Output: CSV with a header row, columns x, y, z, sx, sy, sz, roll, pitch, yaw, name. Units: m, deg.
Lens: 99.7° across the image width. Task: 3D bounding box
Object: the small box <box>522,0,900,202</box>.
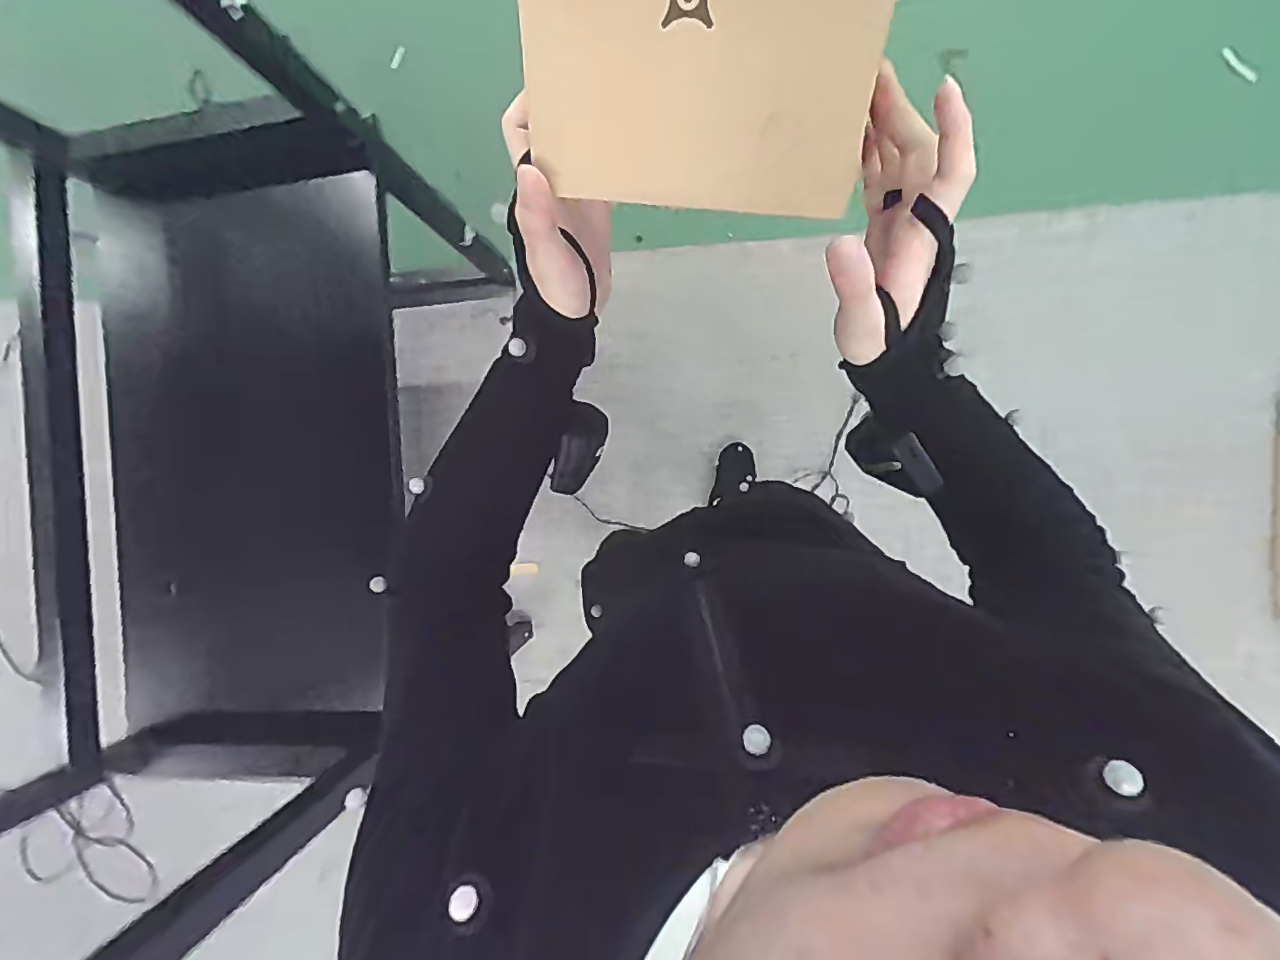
x,y,z,sx,sy,sz,roll,pitch,yaw,name
0.050,-0.261,0.285,0.168,0.176,0.179,13,126,15,small box
